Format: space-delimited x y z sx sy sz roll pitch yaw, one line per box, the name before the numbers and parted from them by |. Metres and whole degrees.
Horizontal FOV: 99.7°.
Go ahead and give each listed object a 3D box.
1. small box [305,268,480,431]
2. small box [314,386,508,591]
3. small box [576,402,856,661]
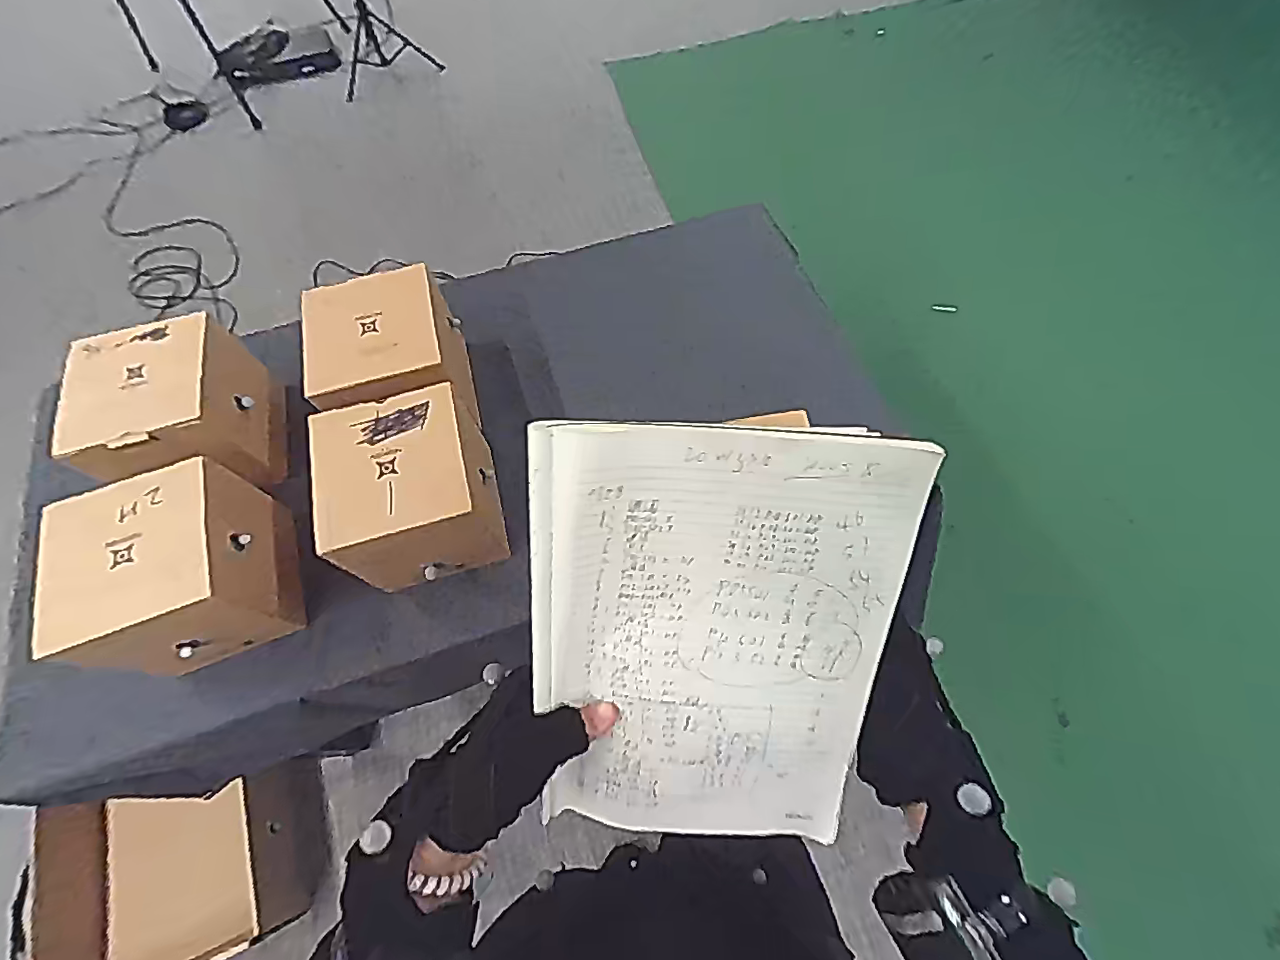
small box | -0.337 -0.157 0.756 0.168 0.176 0.179 -15 65 -5
small box | -0.274 0.016 0.668 0.168 0.176 0.179 -16 65 -5
small box | 0.052 0.054 0.460 0.179 0.176 0.168 -10 72 1
